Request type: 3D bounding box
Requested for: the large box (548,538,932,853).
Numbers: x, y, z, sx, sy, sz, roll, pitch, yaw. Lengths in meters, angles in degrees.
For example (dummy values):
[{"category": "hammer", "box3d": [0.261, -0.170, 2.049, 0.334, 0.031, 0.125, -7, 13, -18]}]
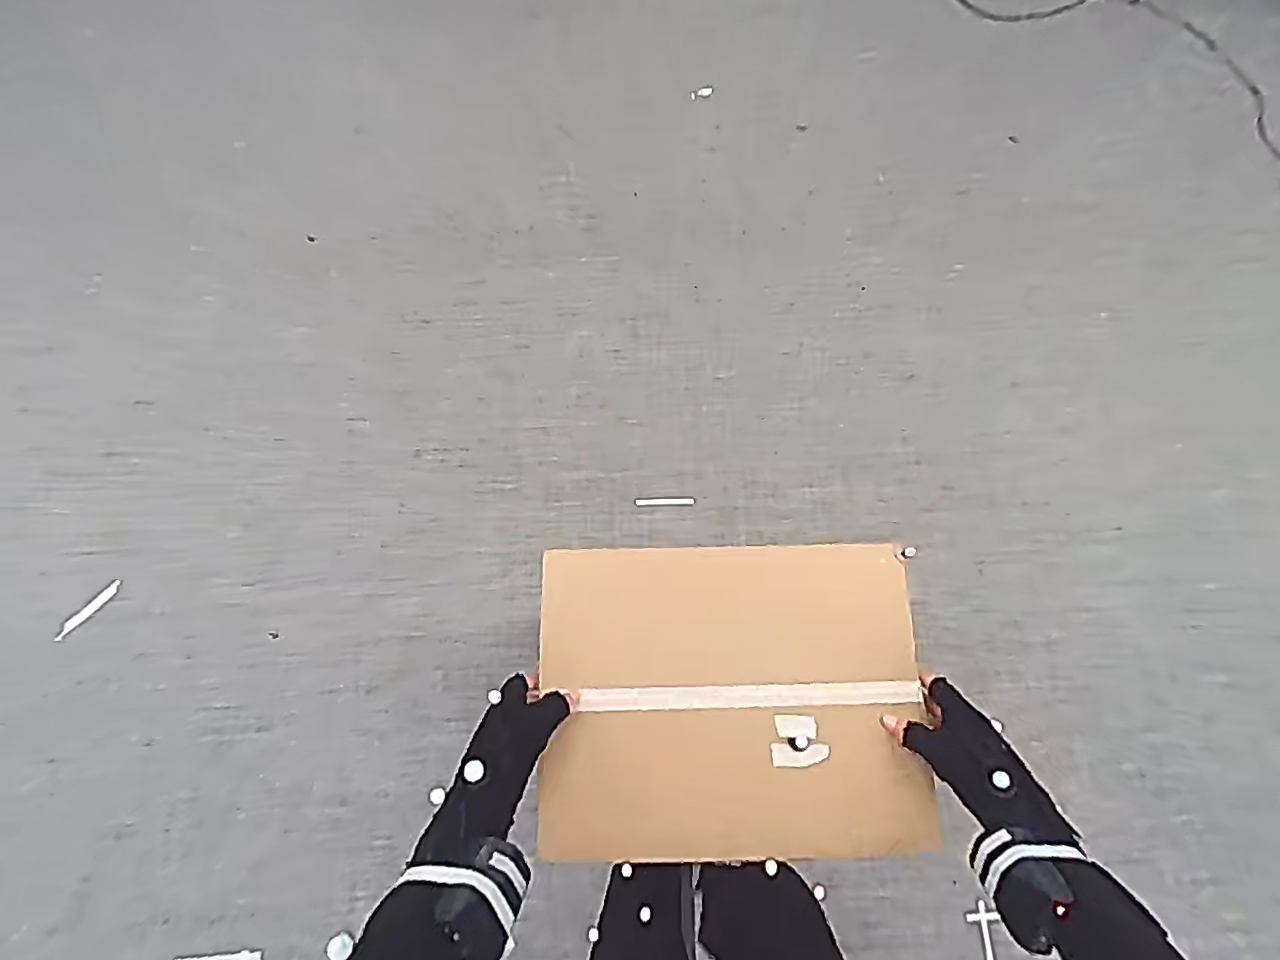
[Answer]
[{"category": "large box", "box3d": [0.097, 0.257, 0.731, 0.408, 0.320, 0.320, -2, 78, -1]}]
